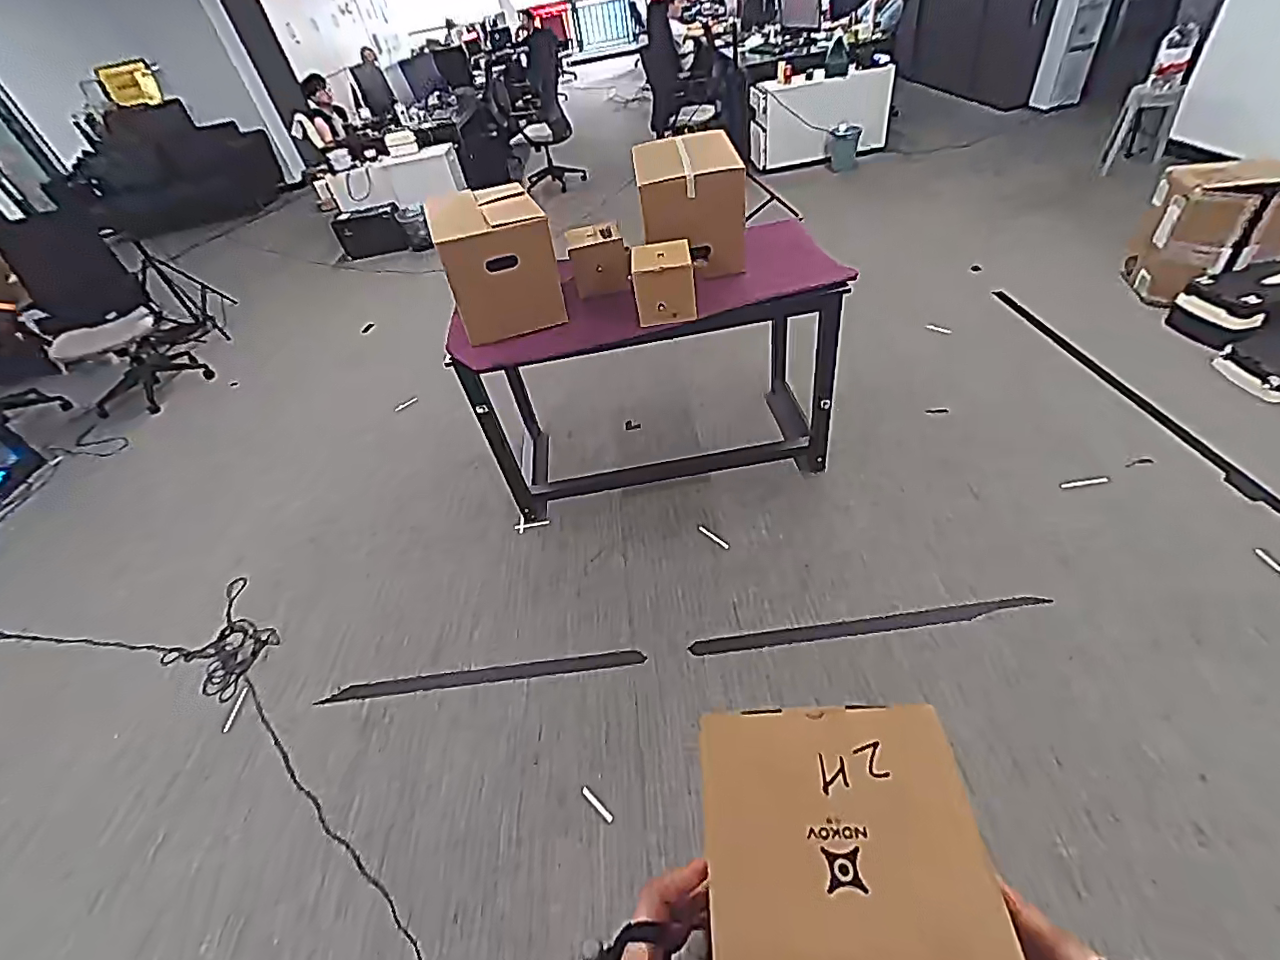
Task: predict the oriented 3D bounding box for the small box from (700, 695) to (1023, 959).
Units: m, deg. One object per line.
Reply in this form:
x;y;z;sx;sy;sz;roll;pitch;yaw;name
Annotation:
0.134;0.273;0.382;0.168;0.176;0.179;-5;46;8;small box
